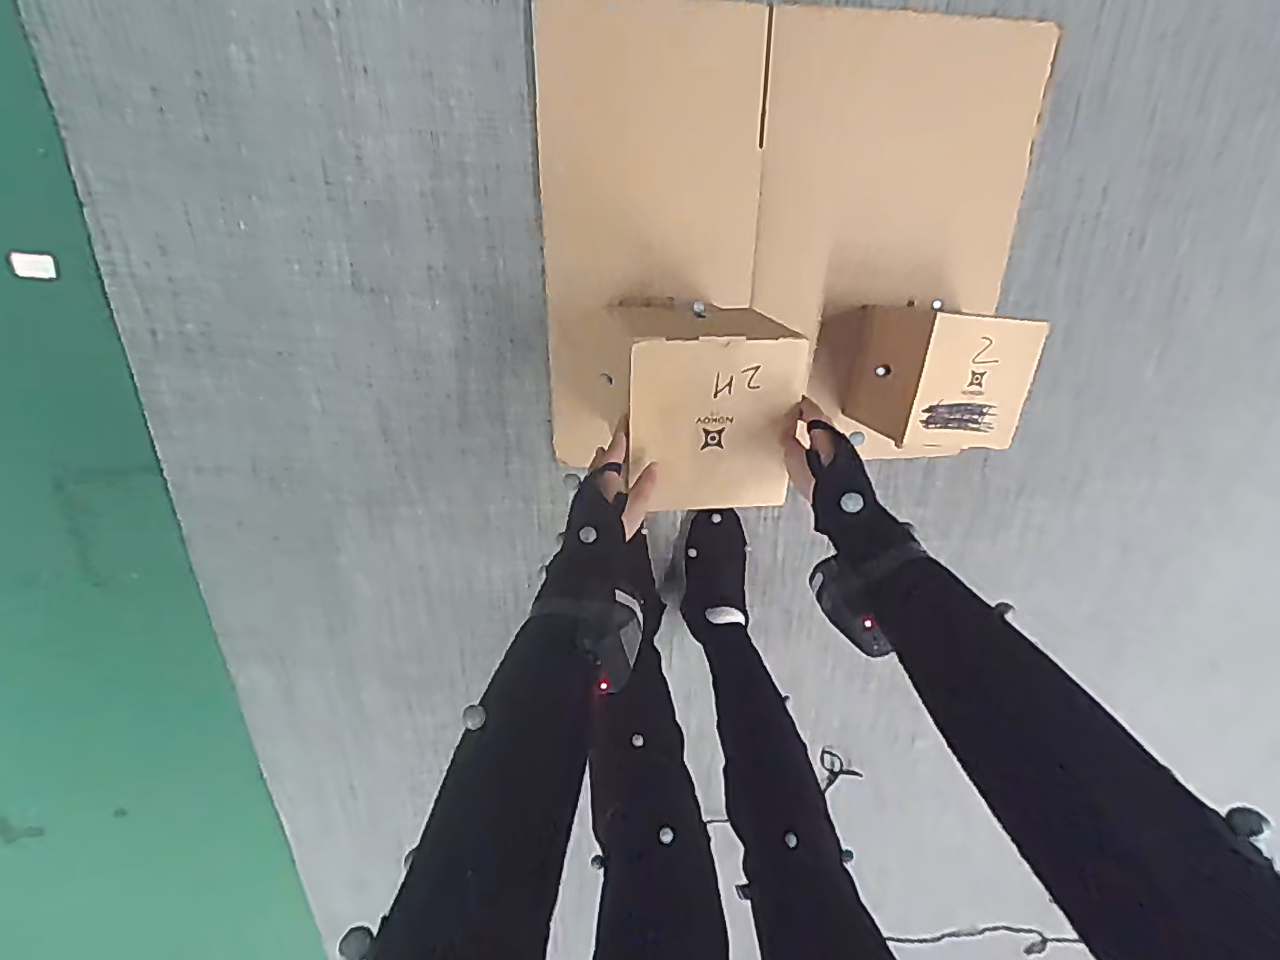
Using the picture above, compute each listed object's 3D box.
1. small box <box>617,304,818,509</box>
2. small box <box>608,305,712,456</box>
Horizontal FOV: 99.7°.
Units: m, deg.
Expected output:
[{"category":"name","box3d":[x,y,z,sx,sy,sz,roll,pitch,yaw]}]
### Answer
[{"category":"small box","box3d":[0.066,-0.084,0.582,0.168,0.176,0.179,-1,115,-8]},{"category":"small box","box3d":[0.044,-0.143,0.742,0.168,0.176,0.179,-3,111,-6]}]
